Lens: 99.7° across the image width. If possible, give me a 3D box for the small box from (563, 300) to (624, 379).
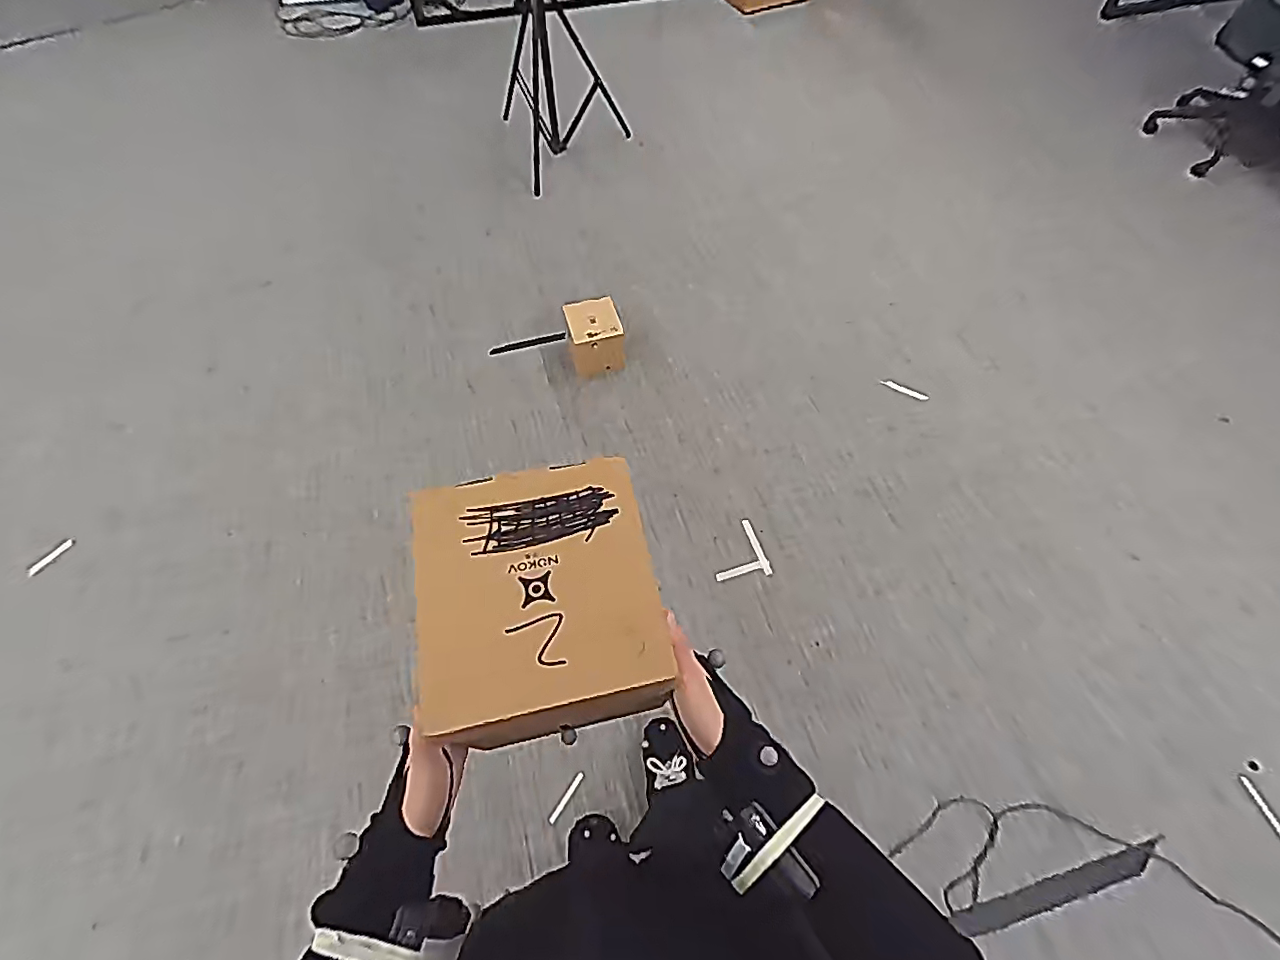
[{"bbox_3d":[-0.154,-0.468,1.810,0.168,0.176,0.179,-15,61,-9],"label":"small box"}]
